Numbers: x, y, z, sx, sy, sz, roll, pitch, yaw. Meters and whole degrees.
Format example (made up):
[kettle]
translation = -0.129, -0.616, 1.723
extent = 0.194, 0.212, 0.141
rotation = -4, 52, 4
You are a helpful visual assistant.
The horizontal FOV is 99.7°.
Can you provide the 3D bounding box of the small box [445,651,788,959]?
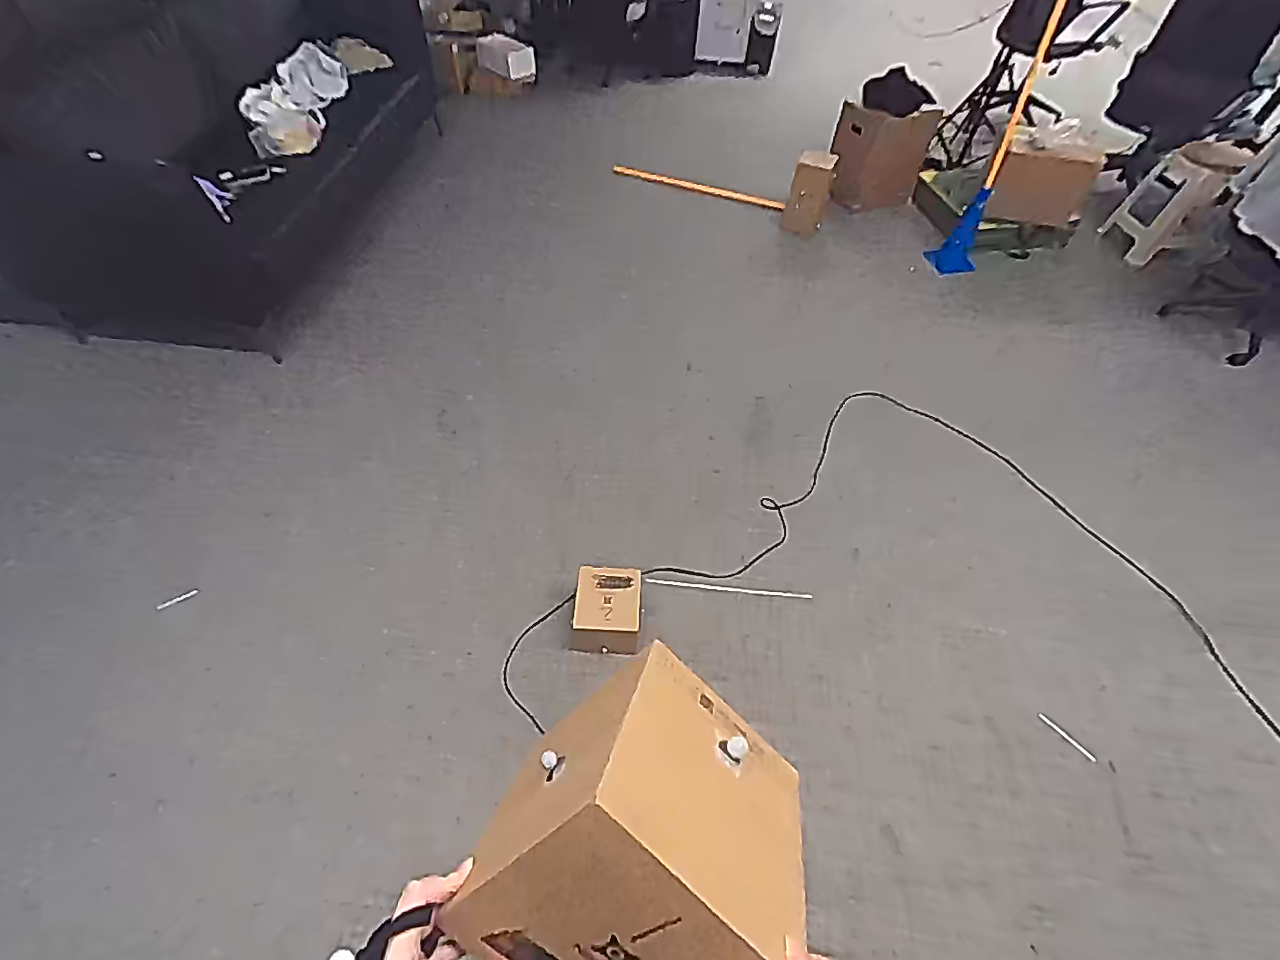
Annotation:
[small box]
translation = -0.003, 0.273, 0.415
extent = 0.168, 0.179, 0.176
rotation = 43, 19, 0
